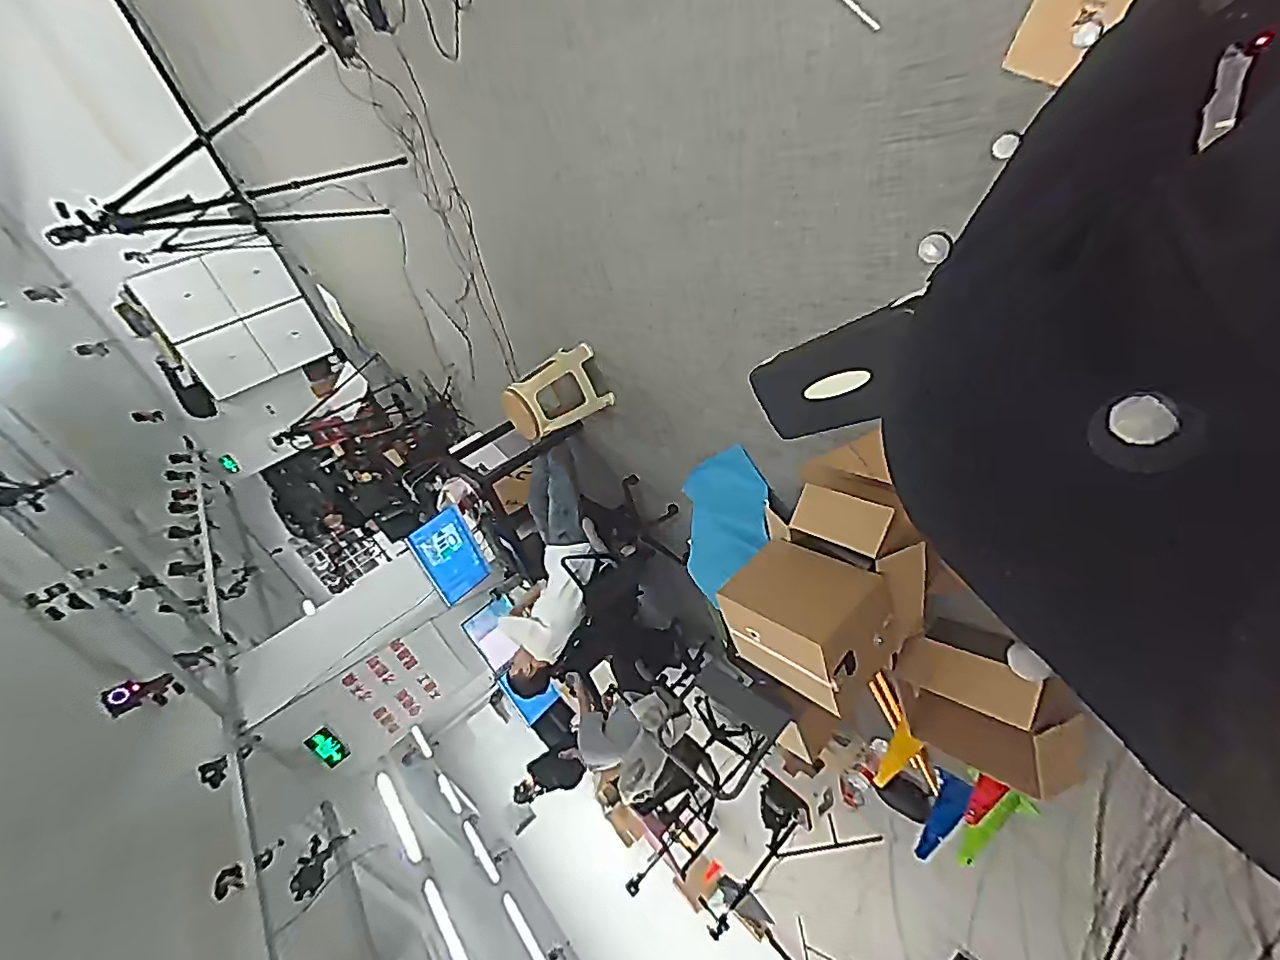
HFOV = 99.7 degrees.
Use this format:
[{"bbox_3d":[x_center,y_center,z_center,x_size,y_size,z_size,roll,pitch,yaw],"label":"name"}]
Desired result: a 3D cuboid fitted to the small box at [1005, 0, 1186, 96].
[{"bbox_3d":[0.725,-0.737,0.835,0.168,0.176,0.179,42,151,24],"label":"small box"}]
